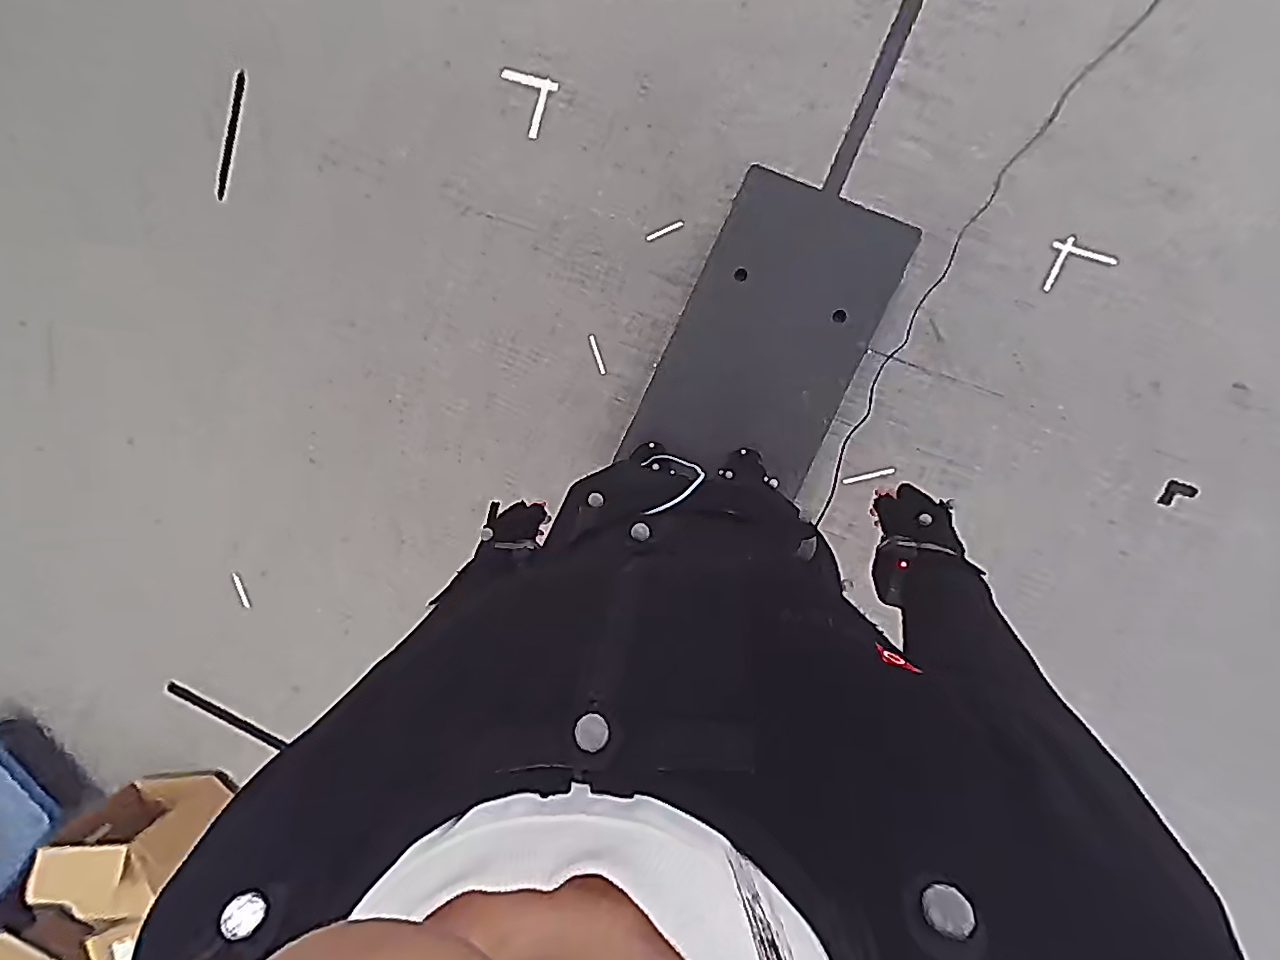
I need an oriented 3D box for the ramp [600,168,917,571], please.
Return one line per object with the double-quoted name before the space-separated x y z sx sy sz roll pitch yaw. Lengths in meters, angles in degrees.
"ramp" 0.307 -0.305 1.458 0.509 0.206 0.991 23 101 7
